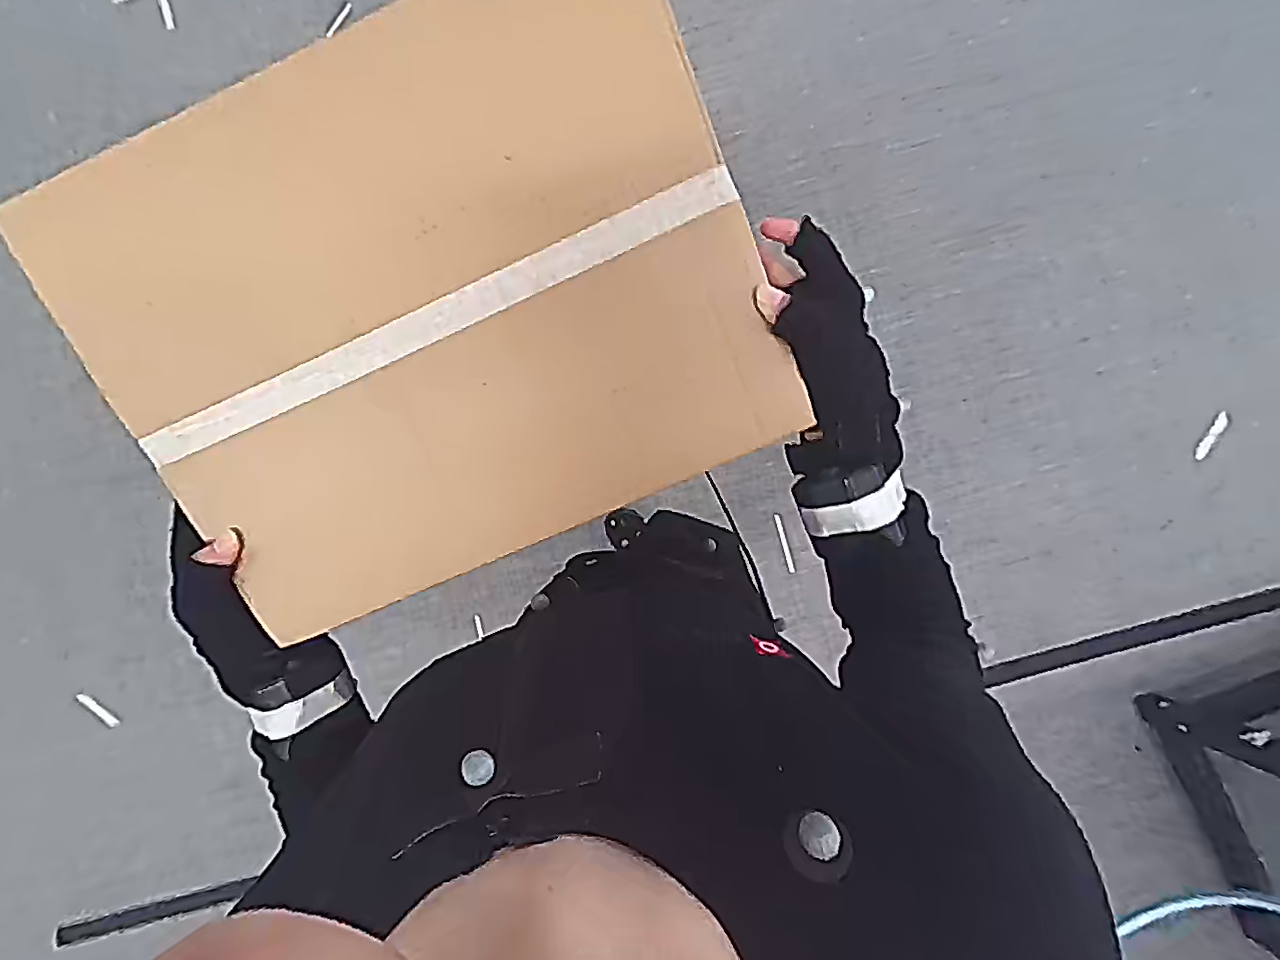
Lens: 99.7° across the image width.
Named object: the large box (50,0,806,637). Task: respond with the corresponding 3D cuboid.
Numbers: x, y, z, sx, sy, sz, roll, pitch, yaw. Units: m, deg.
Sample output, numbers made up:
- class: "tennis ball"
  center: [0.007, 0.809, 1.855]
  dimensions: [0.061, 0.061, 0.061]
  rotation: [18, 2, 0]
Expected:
- class: "large box"
  center: [-0.125, -0.130, 0.493]
  dimensions: [0.408, 0.320, 0.320]
  rotation: [-22, 102, 5]
